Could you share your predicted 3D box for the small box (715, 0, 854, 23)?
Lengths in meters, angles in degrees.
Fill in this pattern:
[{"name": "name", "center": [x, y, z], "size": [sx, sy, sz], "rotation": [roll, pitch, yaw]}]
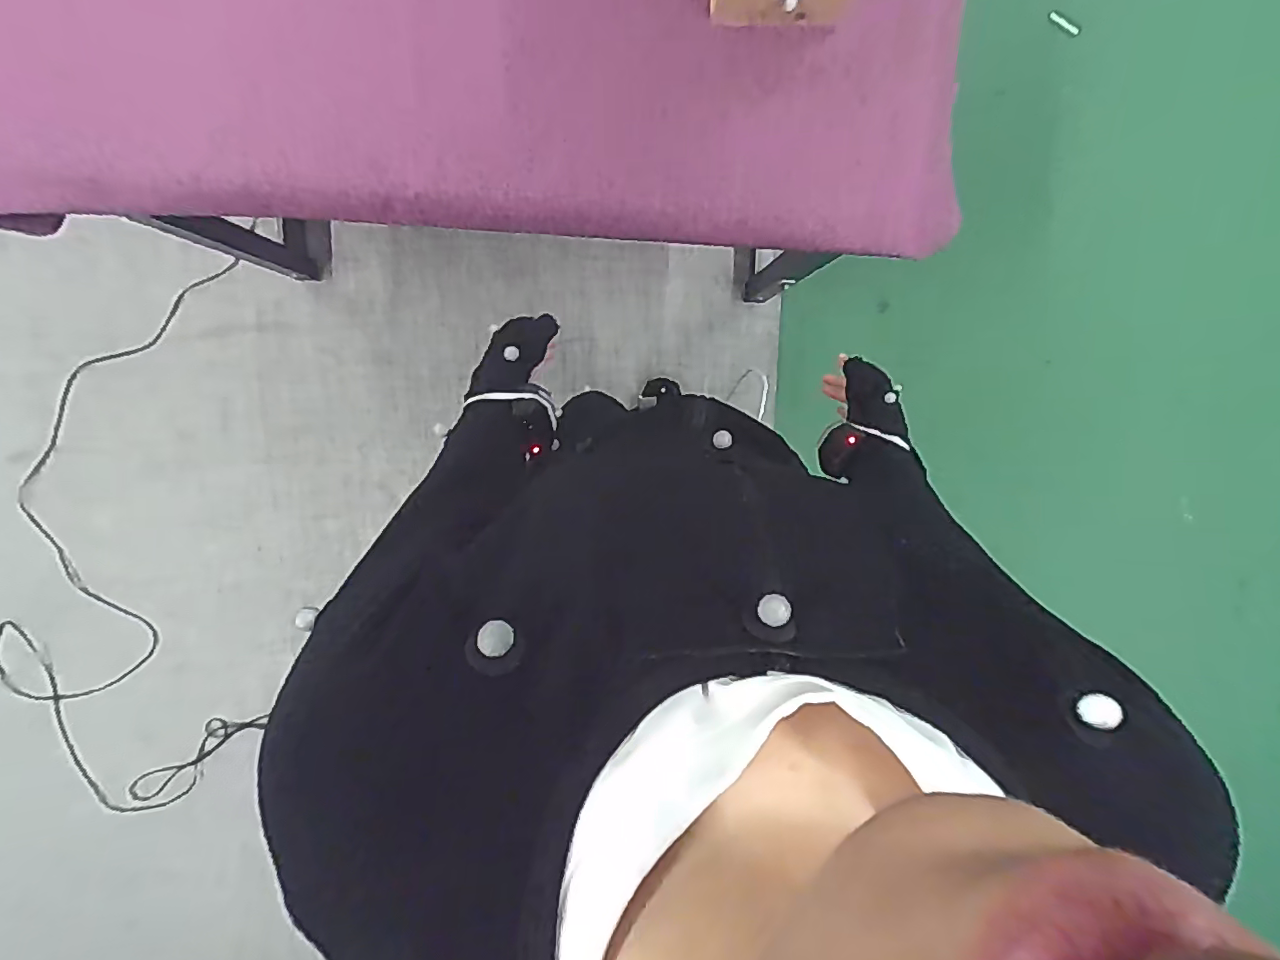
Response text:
[{"name": "small box", "center": [0.169, -0.624, 0.555], "size": [0.168, 0.176, 0.179], "rotation": [-1, 100, -2]}]
